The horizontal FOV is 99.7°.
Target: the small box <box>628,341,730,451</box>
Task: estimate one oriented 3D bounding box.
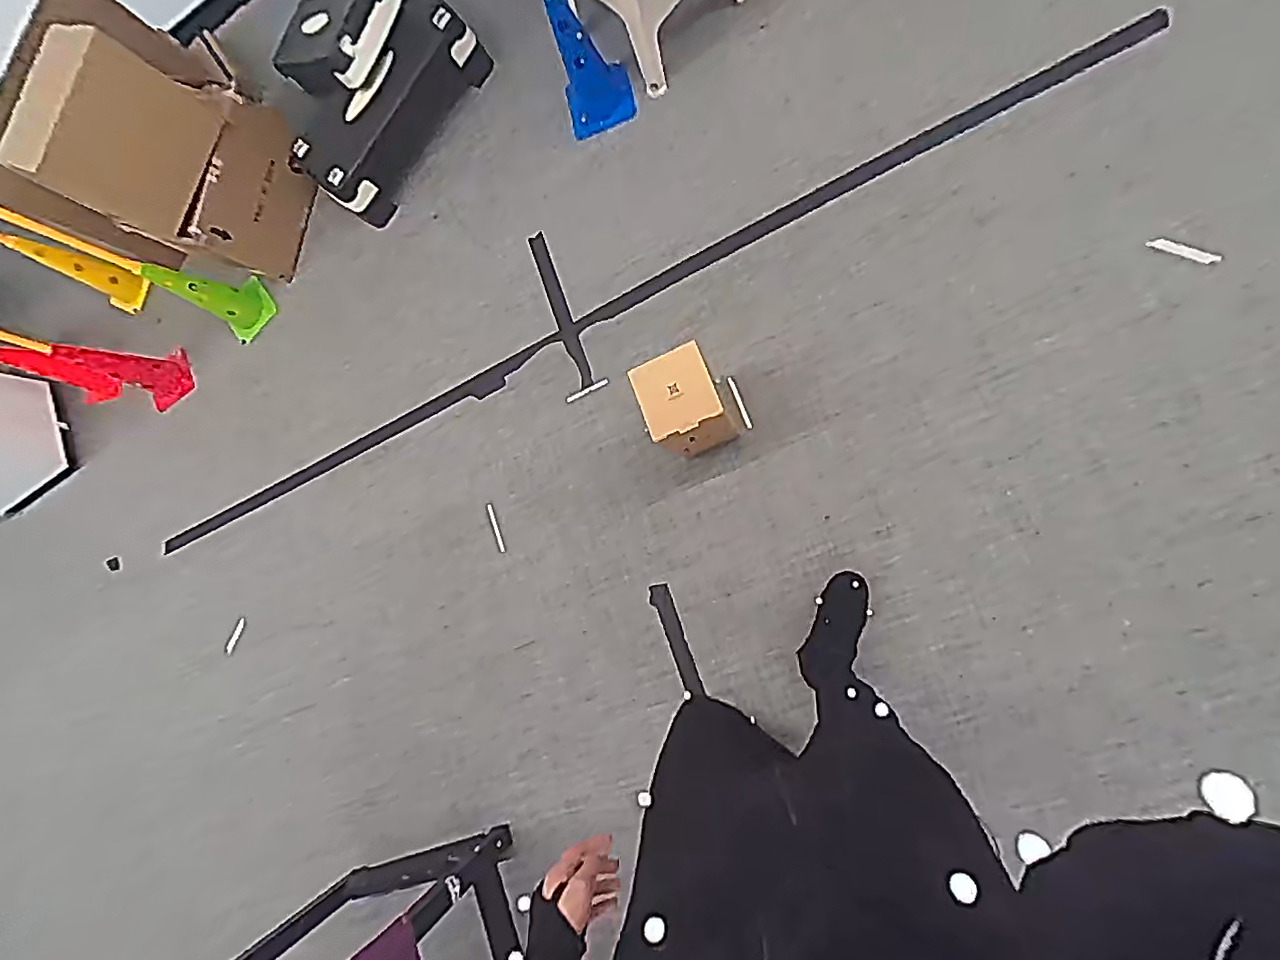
[{"bbox_3d":[0.093,-0.183,1.237,0.168,0.176,0.179,-24,79,13],"label":"small box"}]
